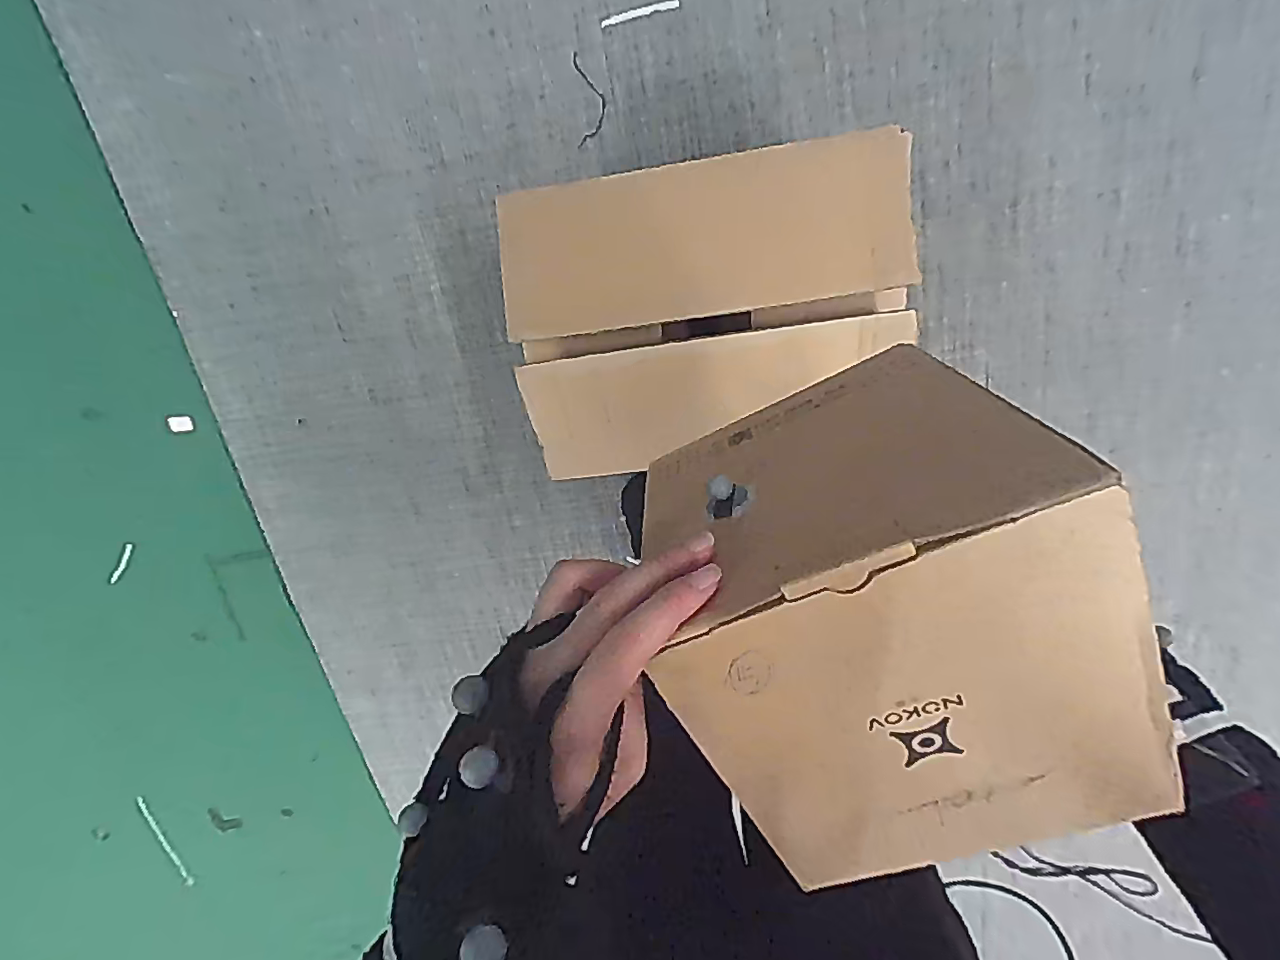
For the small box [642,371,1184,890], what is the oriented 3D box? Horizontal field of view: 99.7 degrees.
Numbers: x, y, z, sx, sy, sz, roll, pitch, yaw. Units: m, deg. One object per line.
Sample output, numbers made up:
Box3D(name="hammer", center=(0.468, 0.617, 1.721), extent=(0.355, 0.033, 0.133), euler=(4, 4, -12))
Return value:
Box3D(name="small box", center=(0.114, 0.062, 0.279), extent=(0.168, 0.176, 0.179), euler=(-24, 114, 16))
